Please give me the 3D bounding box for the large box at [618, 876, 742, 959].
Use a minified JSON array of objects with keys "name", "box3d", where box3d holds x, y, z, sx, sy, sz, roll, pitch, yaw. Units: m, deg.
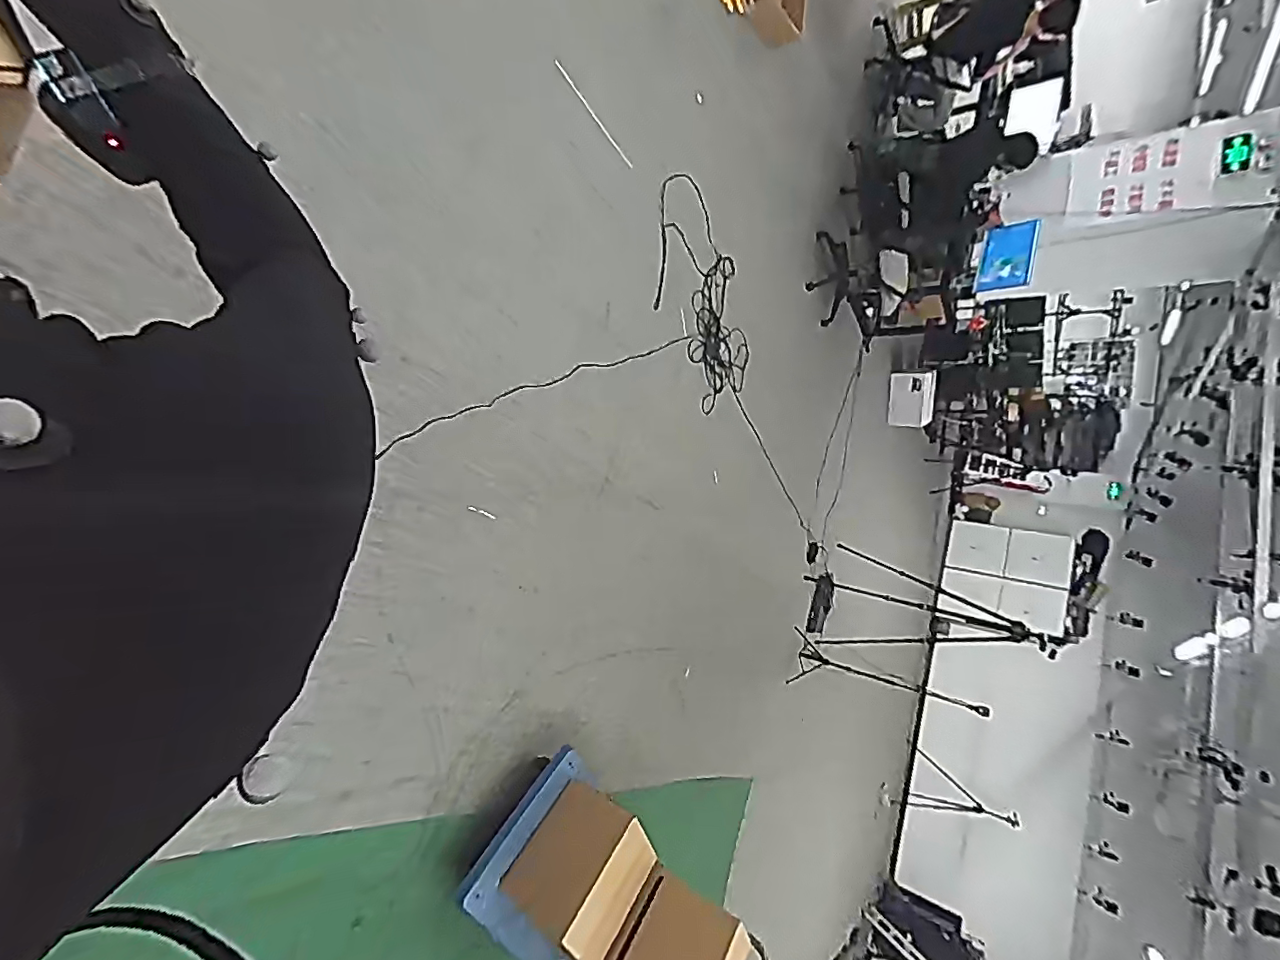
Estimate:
[{"name":"large box","box3d":[0.124,1.729,1.906,0.408,0.320,0.320,-48,136,-36]}]
